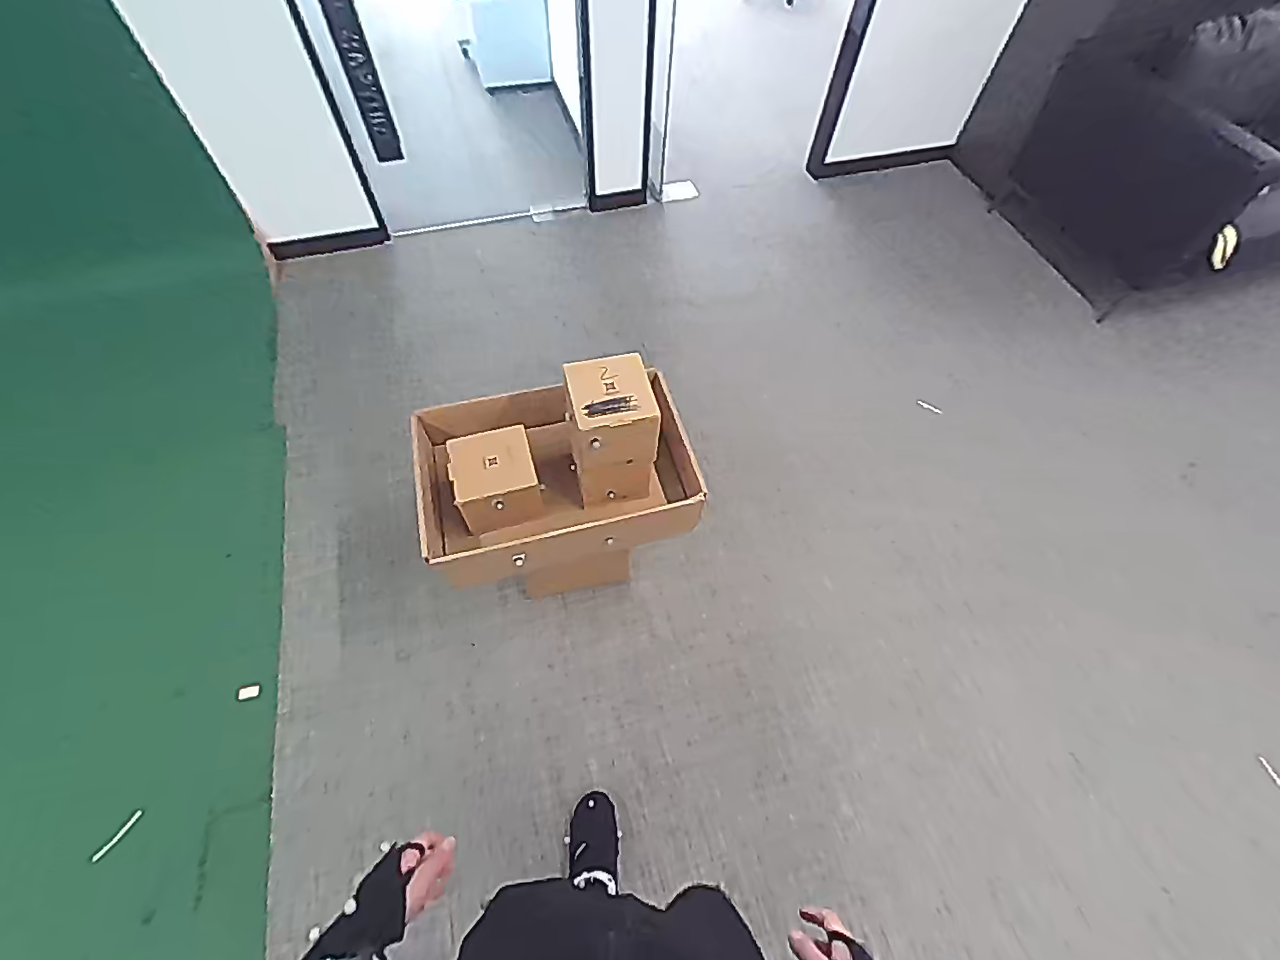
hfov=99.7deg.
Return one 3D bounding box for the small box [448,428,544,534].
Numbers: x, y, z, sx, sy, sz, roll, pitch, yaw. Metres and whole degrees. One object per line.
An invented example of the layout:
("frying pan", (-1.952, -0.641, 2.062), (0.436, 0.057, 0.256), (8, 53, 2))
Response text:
("small box", (-0.328, 0.007, 1.246), (0.179, 0.176, 0.168), (-12, 61, -12))
